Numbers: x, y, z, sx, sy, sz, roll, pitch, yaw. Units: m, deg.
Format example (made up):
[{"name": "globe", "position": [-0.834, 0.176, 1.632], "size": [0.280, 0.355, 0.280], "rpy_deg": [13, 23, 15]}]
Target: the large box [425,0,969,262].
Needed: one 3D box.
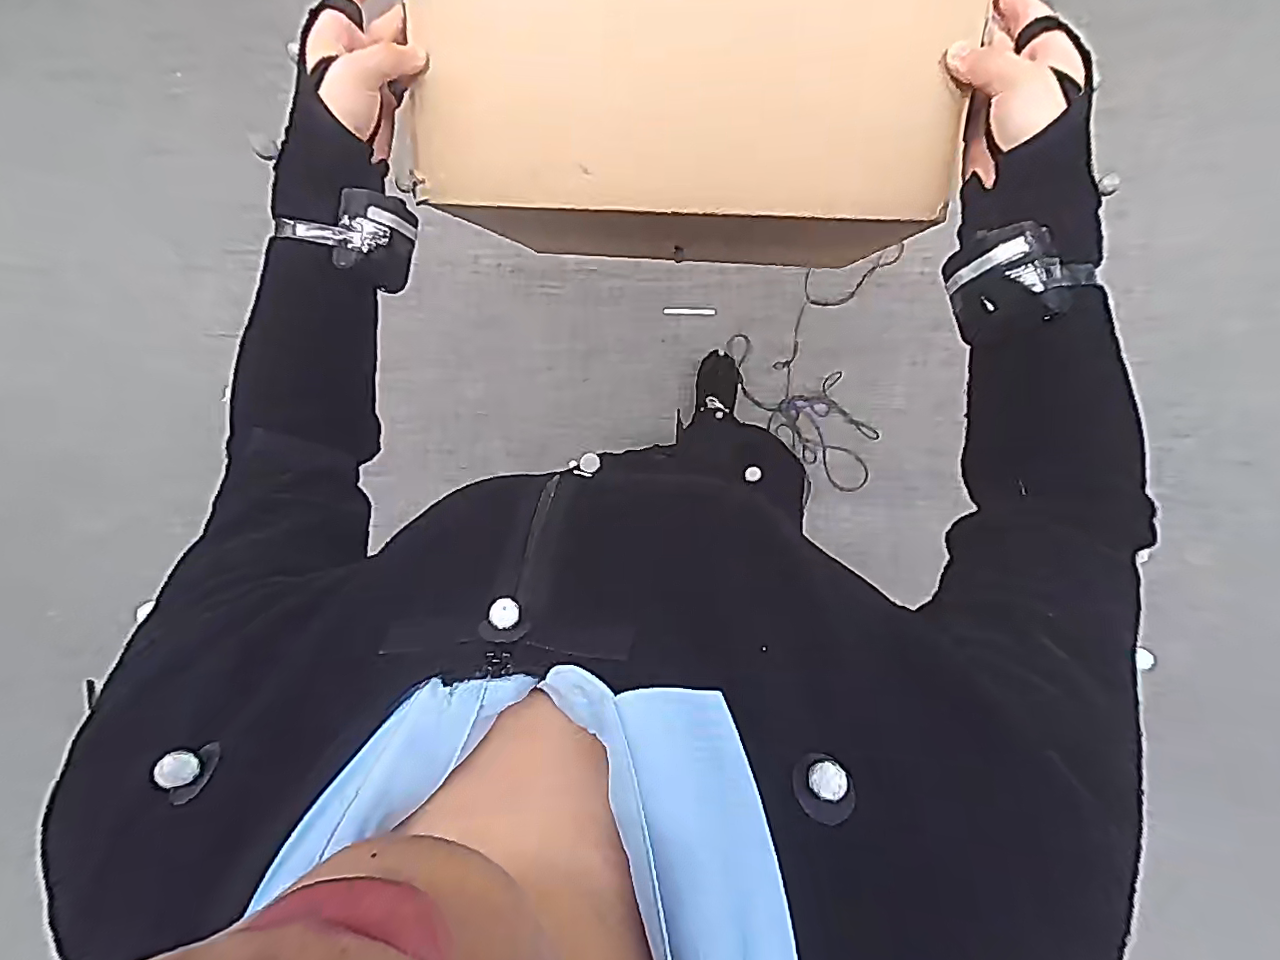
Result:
[{"name": "large box", "position": [0.052, -0.396, 0.532], "size": [0.408, 0.320, 0.320], "rpy_deg": [4, 104, 6]}]
